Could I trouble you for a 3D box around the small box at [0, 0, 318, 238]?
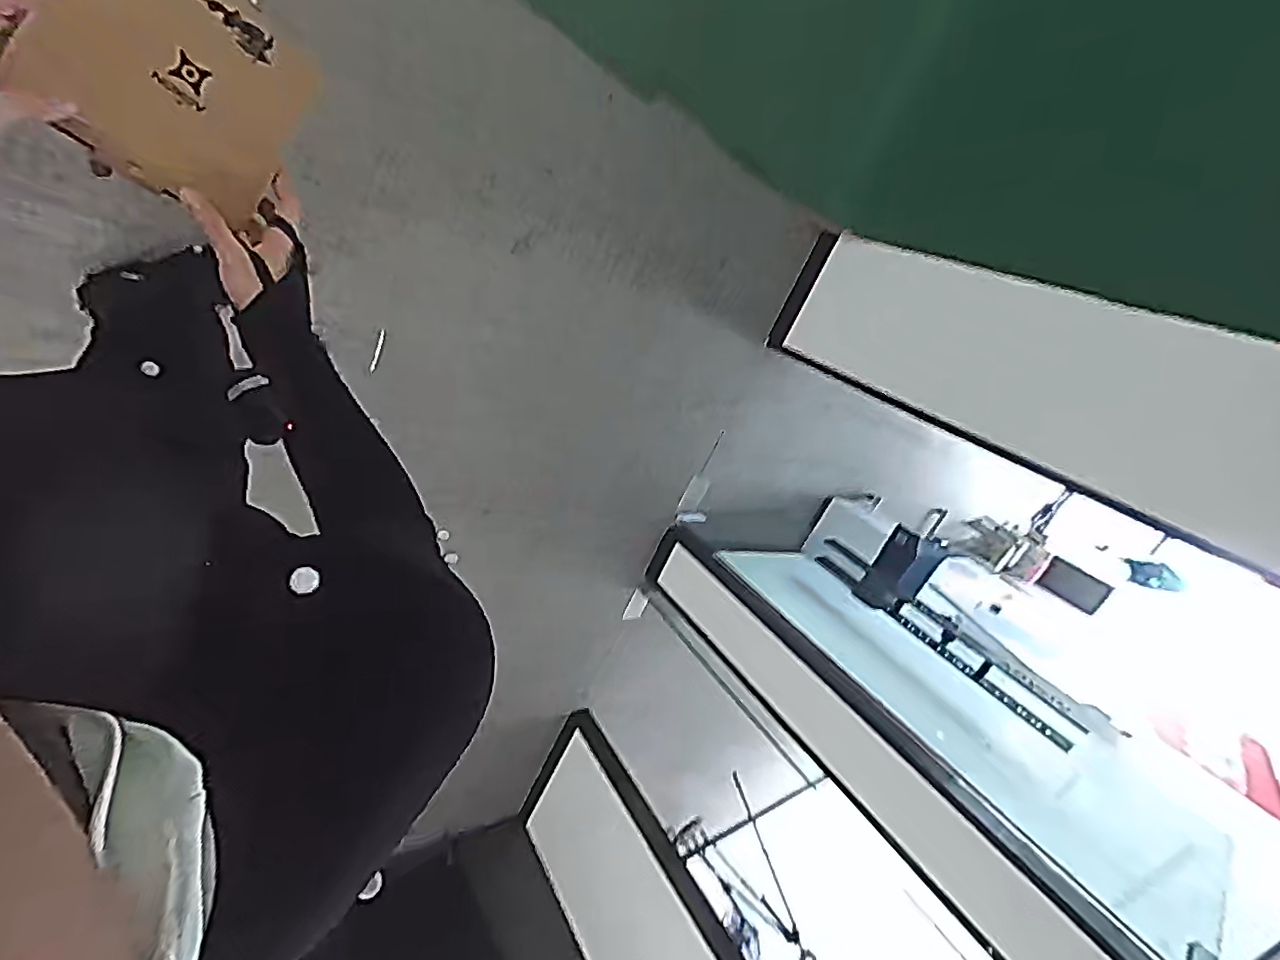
[{"bbox_3d":[-0.433,-0.353,0.477,0.179,0.176,0.168,-59,147,1],"label":"small box"}]
